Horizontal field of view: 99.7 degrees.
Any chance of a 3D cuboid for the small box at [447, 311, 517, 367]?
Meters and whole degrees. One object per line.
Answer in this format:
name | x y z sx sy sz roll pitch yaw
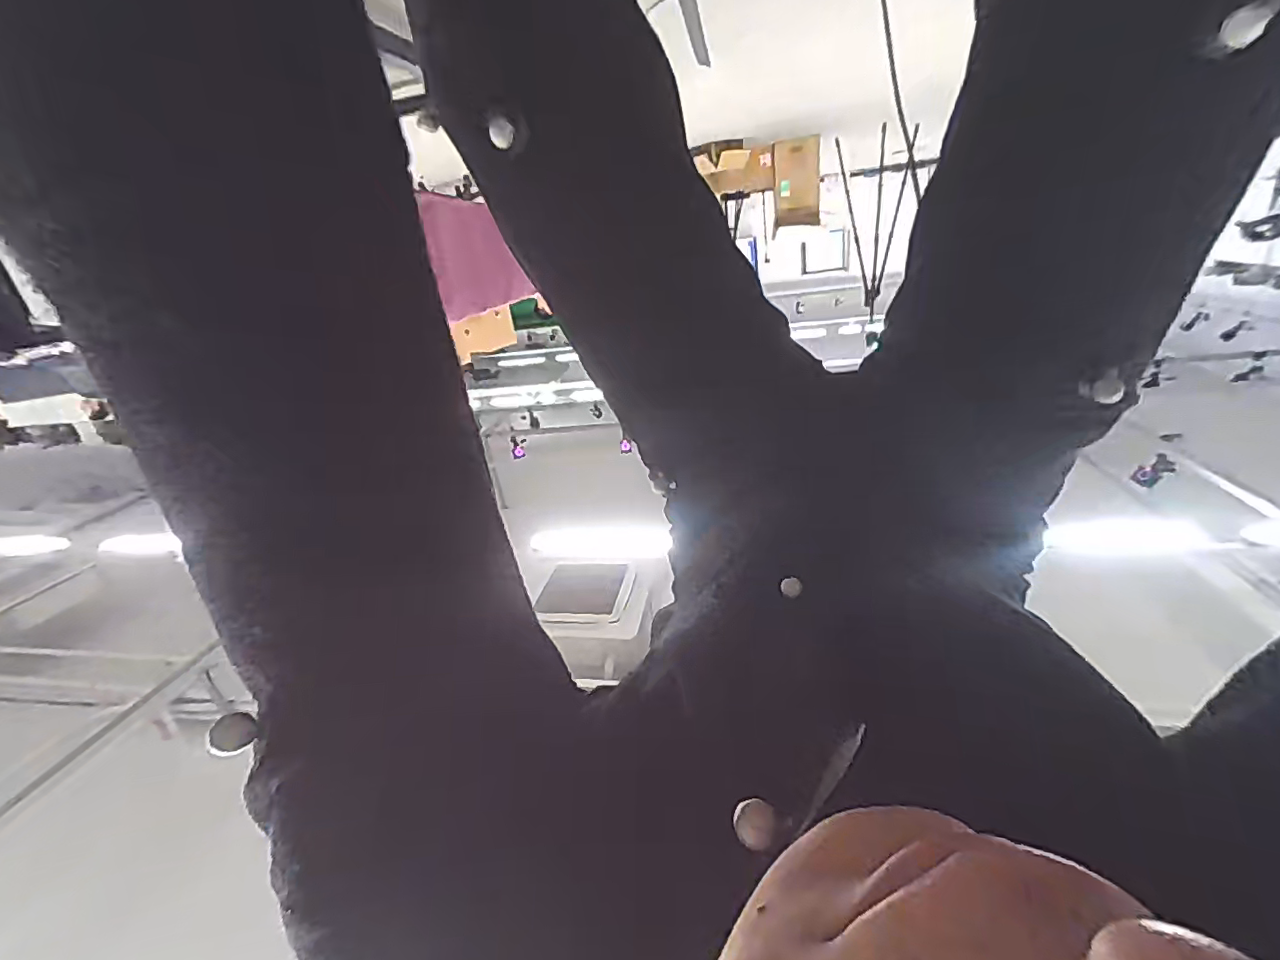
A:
small box | -0.585 -0.520 1.987 0.179 0.176 0.168 2 -154 26
